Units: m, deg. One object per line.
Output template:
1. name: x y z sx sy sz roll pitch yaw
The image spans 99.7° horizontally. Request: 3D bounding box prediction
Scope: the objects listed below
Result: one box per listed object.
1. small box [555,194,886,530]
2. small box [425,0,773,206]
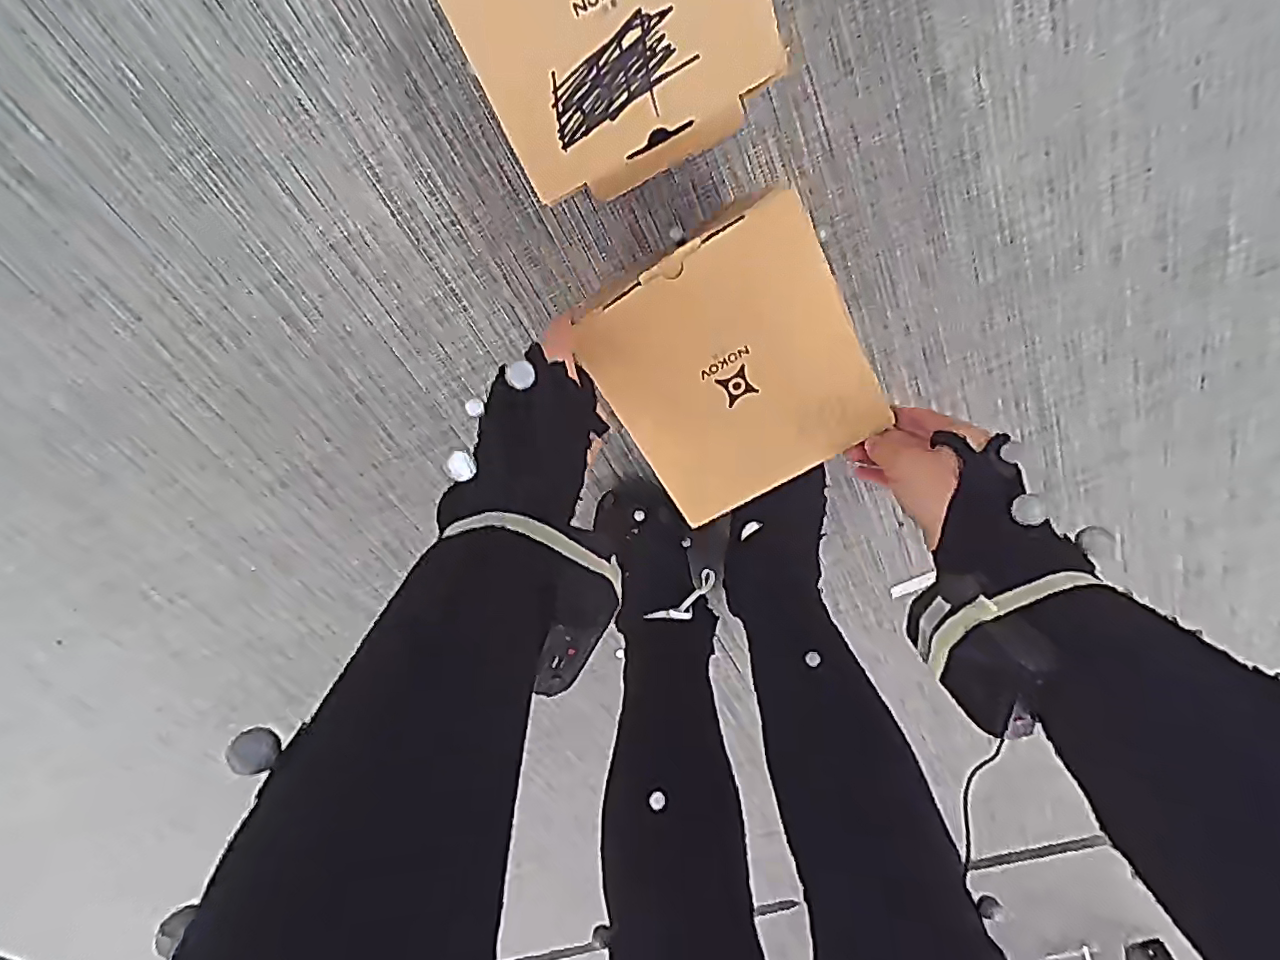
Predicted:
1. small box: 0.060 -0.098 0.431 0.168 0.176 0.179 -29 110 14
2. small box: -0.032 -0.309 0.353 0.168 0.176 0.179 -23 118 12
